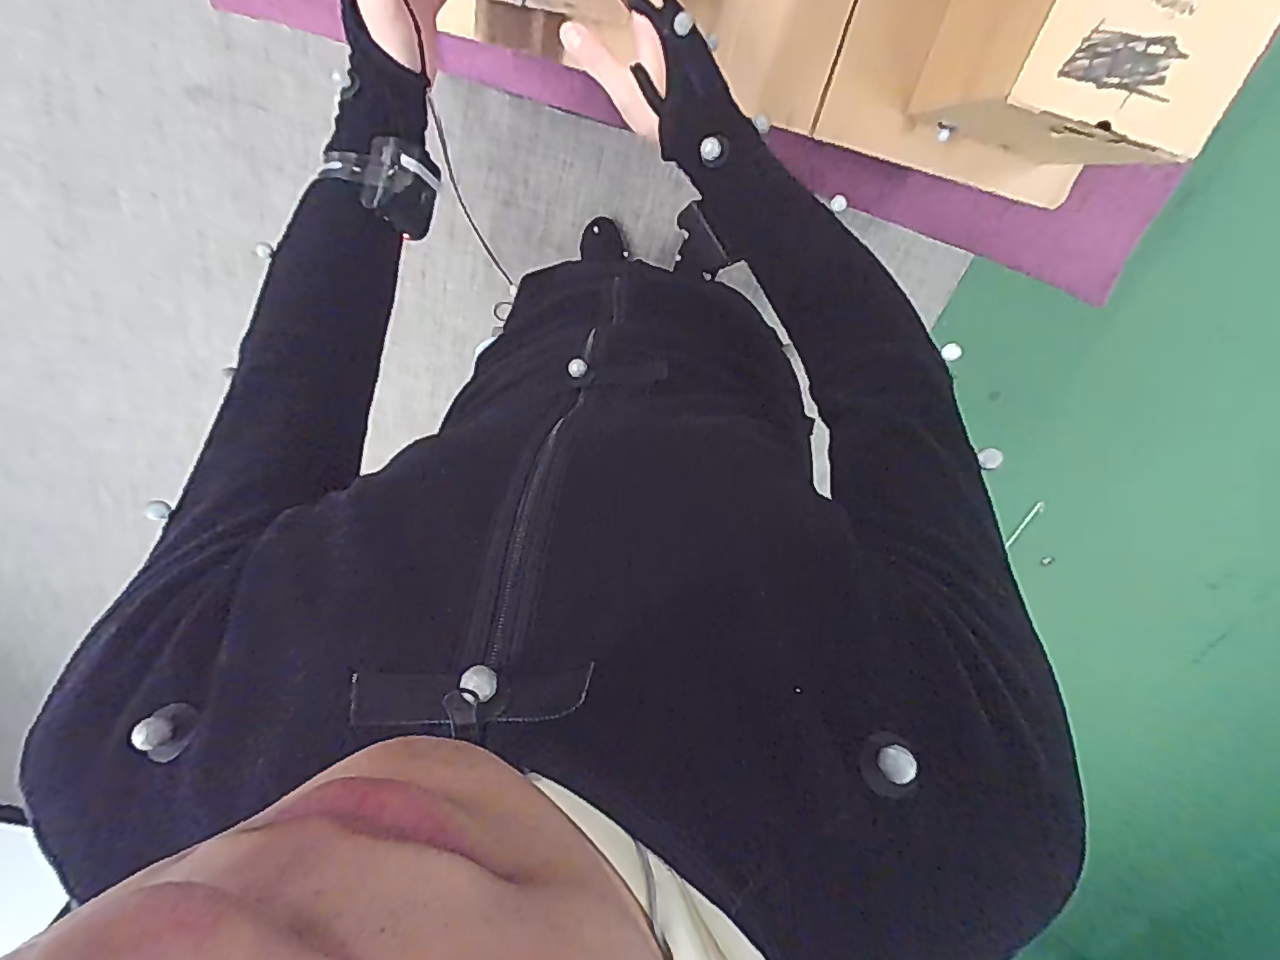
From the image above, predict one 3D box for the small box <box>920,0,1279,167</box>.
[{"bbox_3d":[0.363,-0.371,0.438,0.168,0.176,0.179,11,118,-9],"label":"small box"}]
